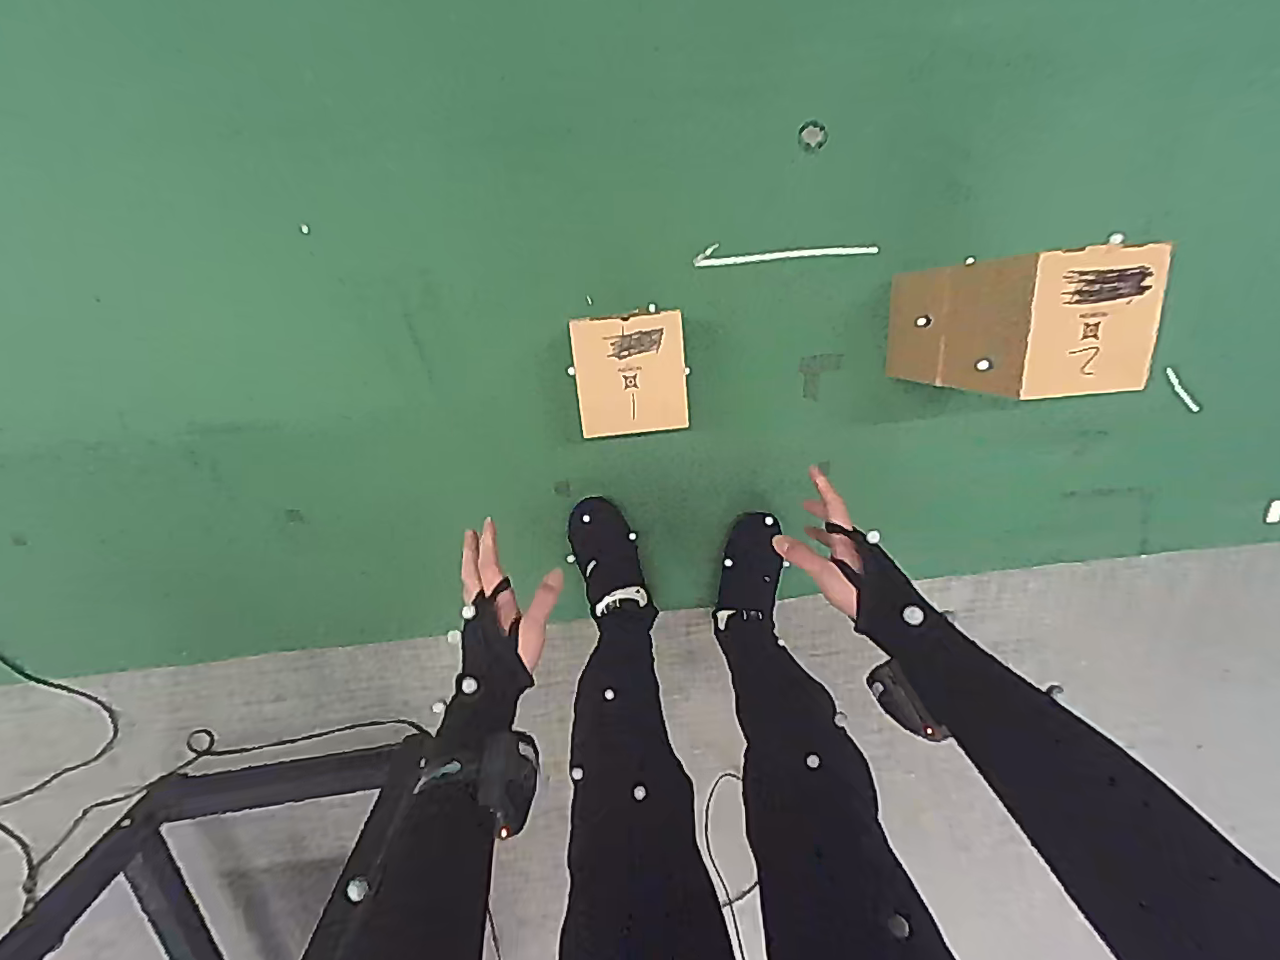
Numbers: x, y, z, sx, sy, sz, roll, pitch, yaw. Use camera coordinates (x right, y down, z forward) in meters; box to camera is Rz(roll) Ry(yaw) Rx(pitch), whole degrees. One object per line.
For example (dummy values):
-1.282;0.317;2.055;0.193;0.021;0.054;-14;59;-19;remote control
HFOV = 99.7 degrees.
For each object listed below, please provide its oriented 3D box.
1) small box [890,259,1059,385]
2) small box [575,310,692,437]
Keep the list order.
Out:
0.531;-0.255;0.884;0.168;0.176;0.179;-4;107;-2;small box
-0.012;-0.177;0.879;0.168;0.176;0.179;-6;107;-1;small box
